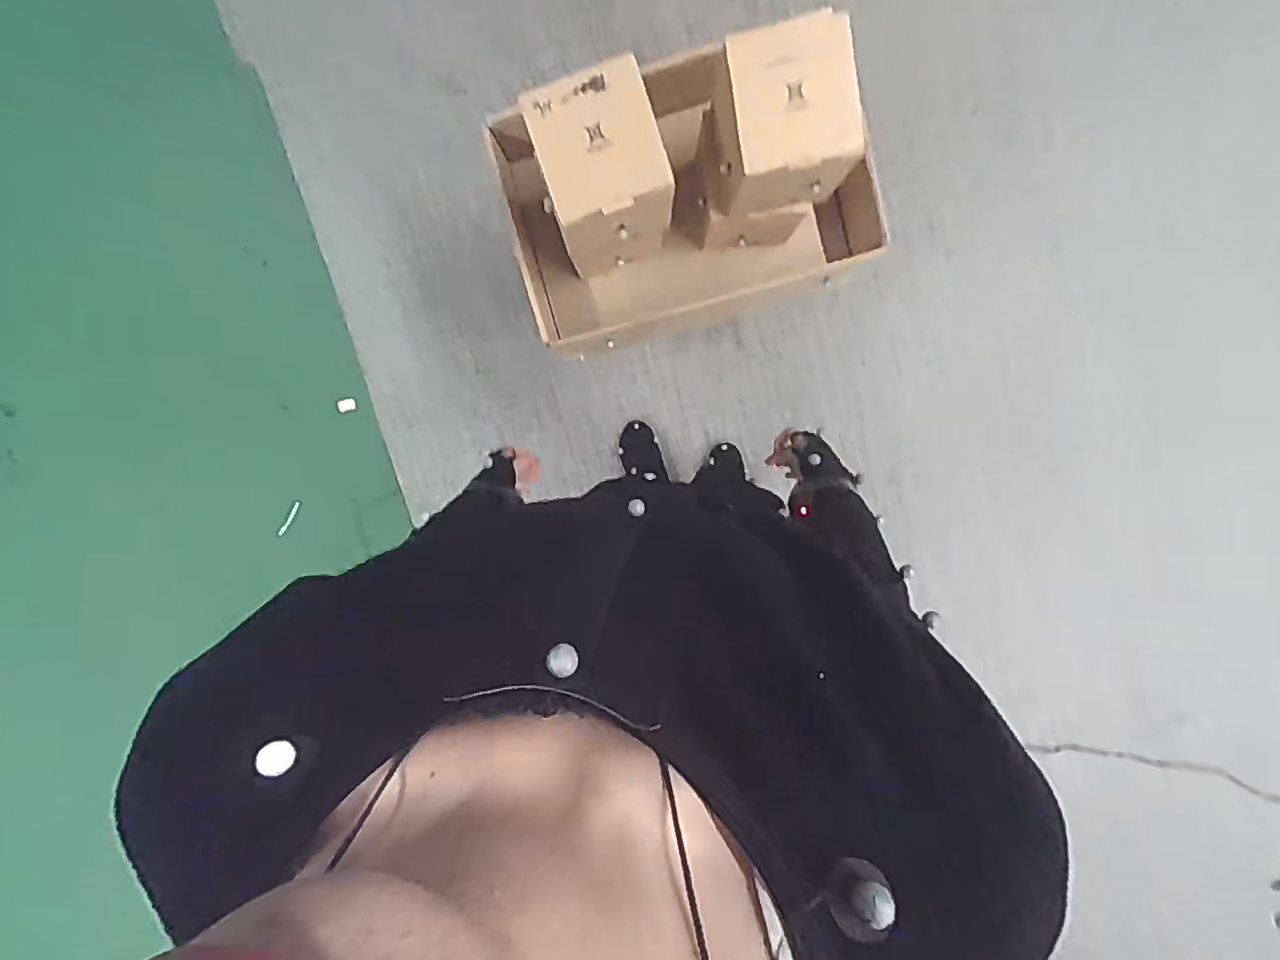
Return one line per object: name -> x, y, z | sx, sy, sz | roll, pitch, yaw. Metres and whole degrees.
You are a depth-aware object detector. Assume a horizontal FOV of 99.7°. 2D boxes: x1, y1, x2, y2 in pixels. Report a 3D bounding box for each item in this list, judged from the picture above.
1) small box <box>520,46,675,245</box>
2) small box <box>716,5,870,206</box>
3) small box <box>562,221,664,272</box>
small box -> -0.053, -0.462, 0.786 | 0.168, 0.176, 0.179 | -18, 97, 3
small box -> 0.209, -0.516, 0.776 | 0.168, 0.176, 0.179 | -9, 97, 1
small box -> -0.062, -0.494, 0.947 | 0.168, 0.176, 0.179 | -18, 96, 4
